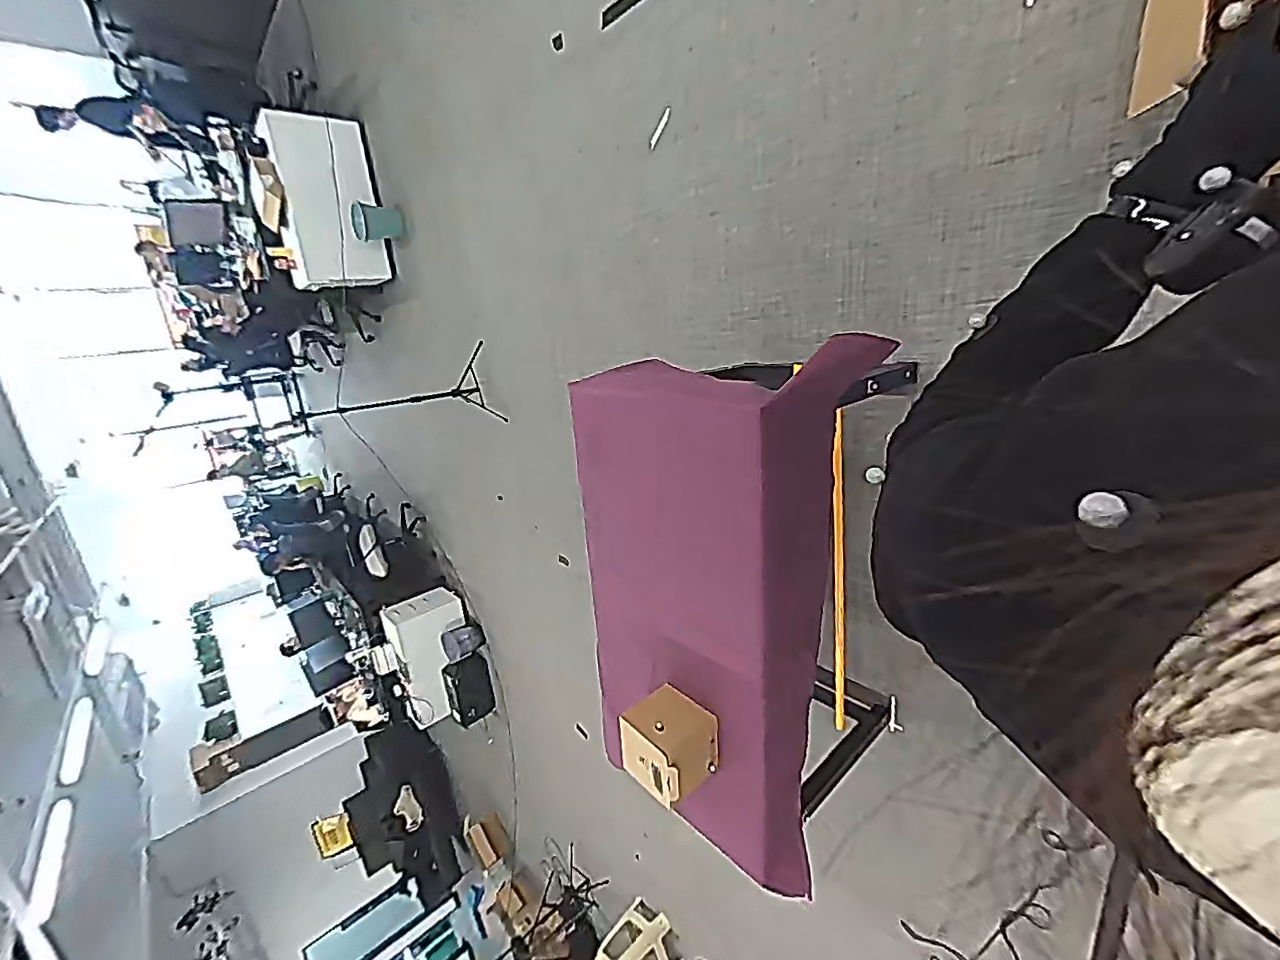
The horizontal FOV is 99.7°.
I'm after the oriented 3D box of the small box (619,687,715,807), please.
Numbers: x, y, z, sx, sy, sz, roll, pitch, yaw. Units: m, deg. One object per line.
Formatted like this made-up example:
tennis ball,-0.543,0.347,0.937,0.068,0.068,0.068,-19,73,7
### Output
small box,0.071,0.645,1.334,0.179,0.176,0.168,18,118,46
